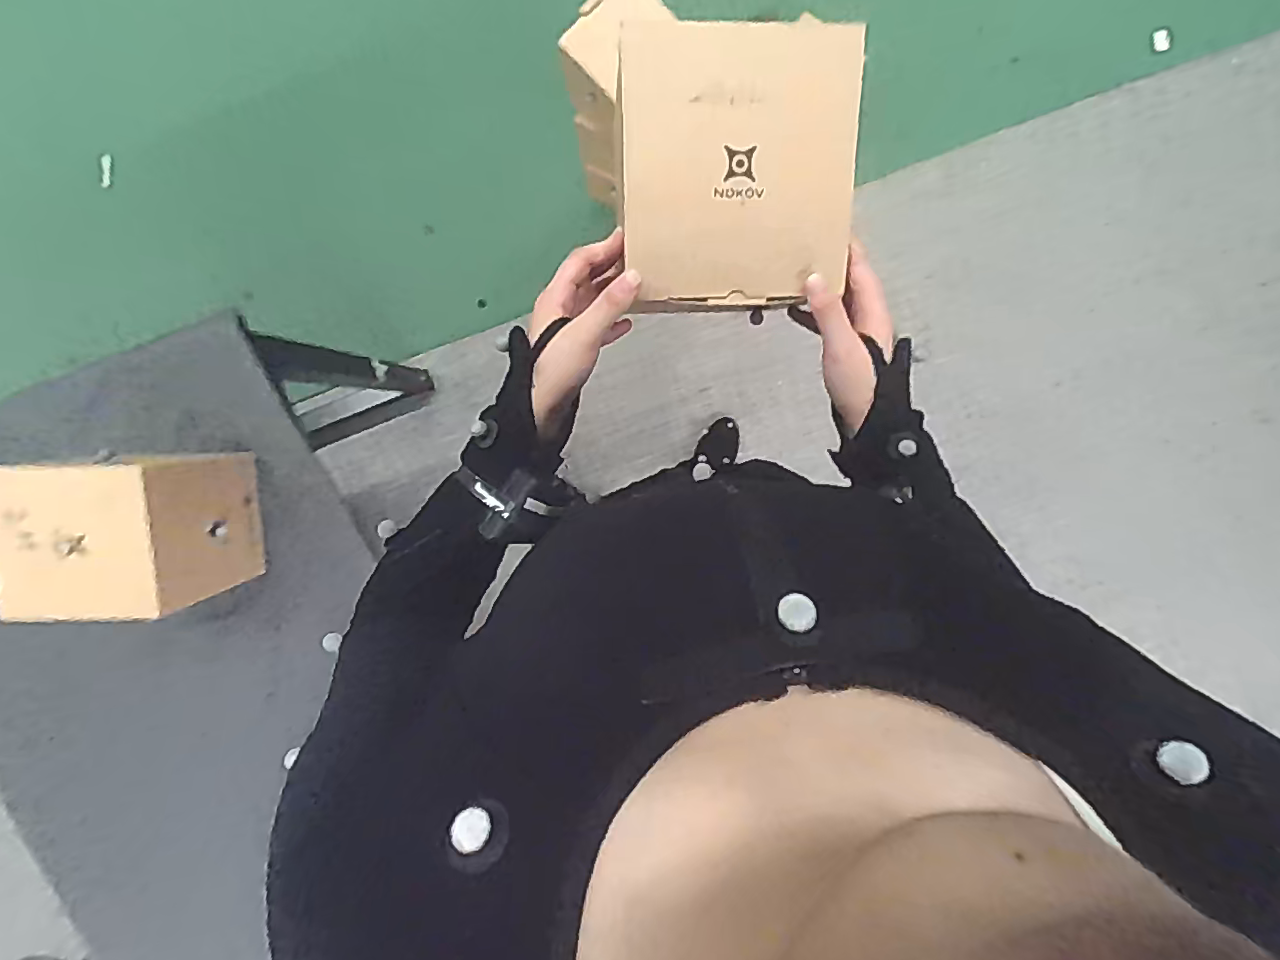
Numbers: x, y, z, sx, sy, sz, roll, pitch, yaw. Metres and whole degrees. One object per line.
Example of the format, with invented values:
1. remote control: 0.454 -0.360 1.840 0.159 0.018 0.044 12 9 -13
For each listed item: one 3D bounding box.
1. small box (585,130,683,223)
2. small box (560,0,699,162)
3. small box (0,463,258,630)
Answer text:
1. small box: -0.015 -0.751 1.308 0.179 0.176 0.168 25 96 -4
2. small box: -0.020 -0.728 0.979 0.179 0.176 0.168 44 94 -6
3. small box: -0.592 0.068 0.644 0.179 0.176 0.168 -1 97 1
